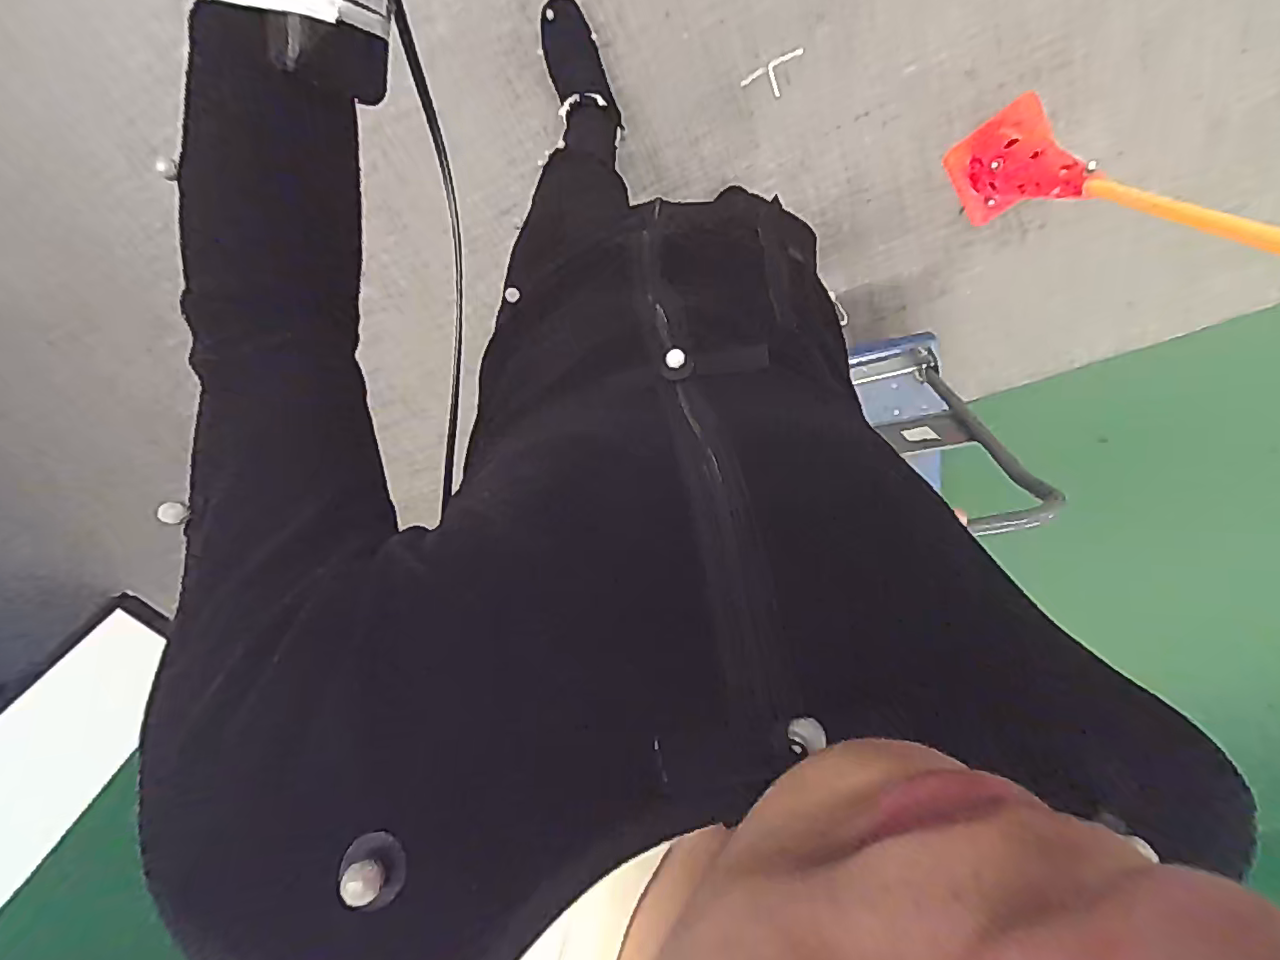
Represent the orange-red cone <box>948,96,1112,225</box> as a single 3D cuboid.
[{"bbox_3d":[0.811,-0.612,1.079,0.199,0.360,0.198,-33,118,24],"label":"orange-red cone"}]
